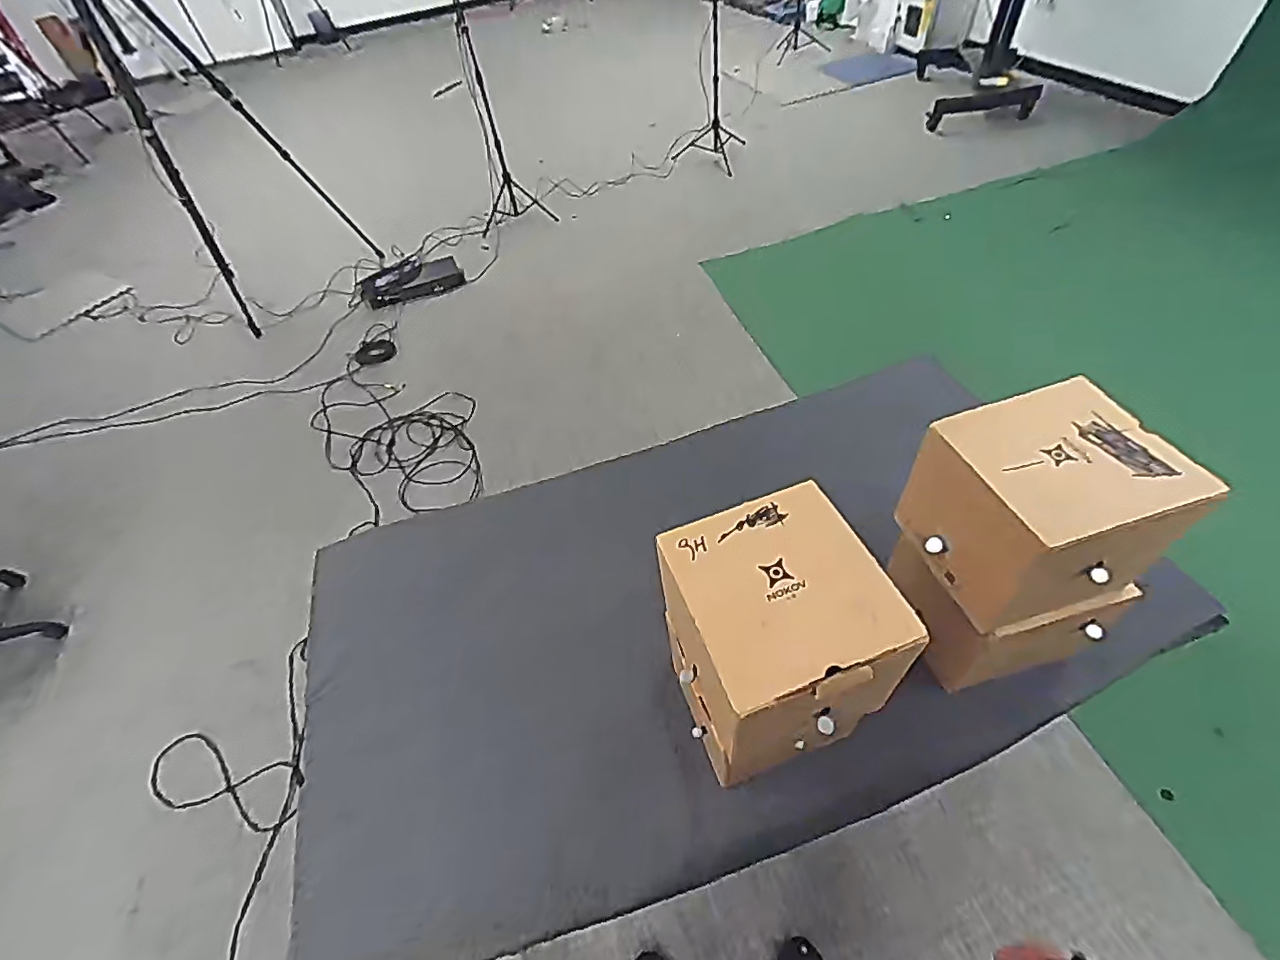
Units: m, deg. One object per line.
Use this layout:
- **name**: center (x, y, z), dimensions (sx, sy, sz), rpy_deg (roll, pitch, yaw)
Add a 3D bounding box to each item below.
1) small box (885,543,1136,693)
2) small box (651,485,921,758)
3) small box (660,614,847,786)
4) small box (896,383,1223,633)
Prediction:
- **small box**: center (0.437, 0.142, 0.679), dimensions (0.179, 0.176, 0.168), rpy_deg (-15, 49, -4)
- **small box**: center (0.122, 0.141, 0.513), dimensions (0.168, 0.176, 0.179), rpy_deg (-19, 51, -7)
- **small box**: center (0.137, 0.238, 0.645), dimensions (0.179, 0.176, 0.168), rpy_deg (-18, 51, -9)
- **small box**: center (0.402, 0.032, 0.561), dimensions (0.179, 0.176, 0.168), rpy_deg (-17, 49, -4)
